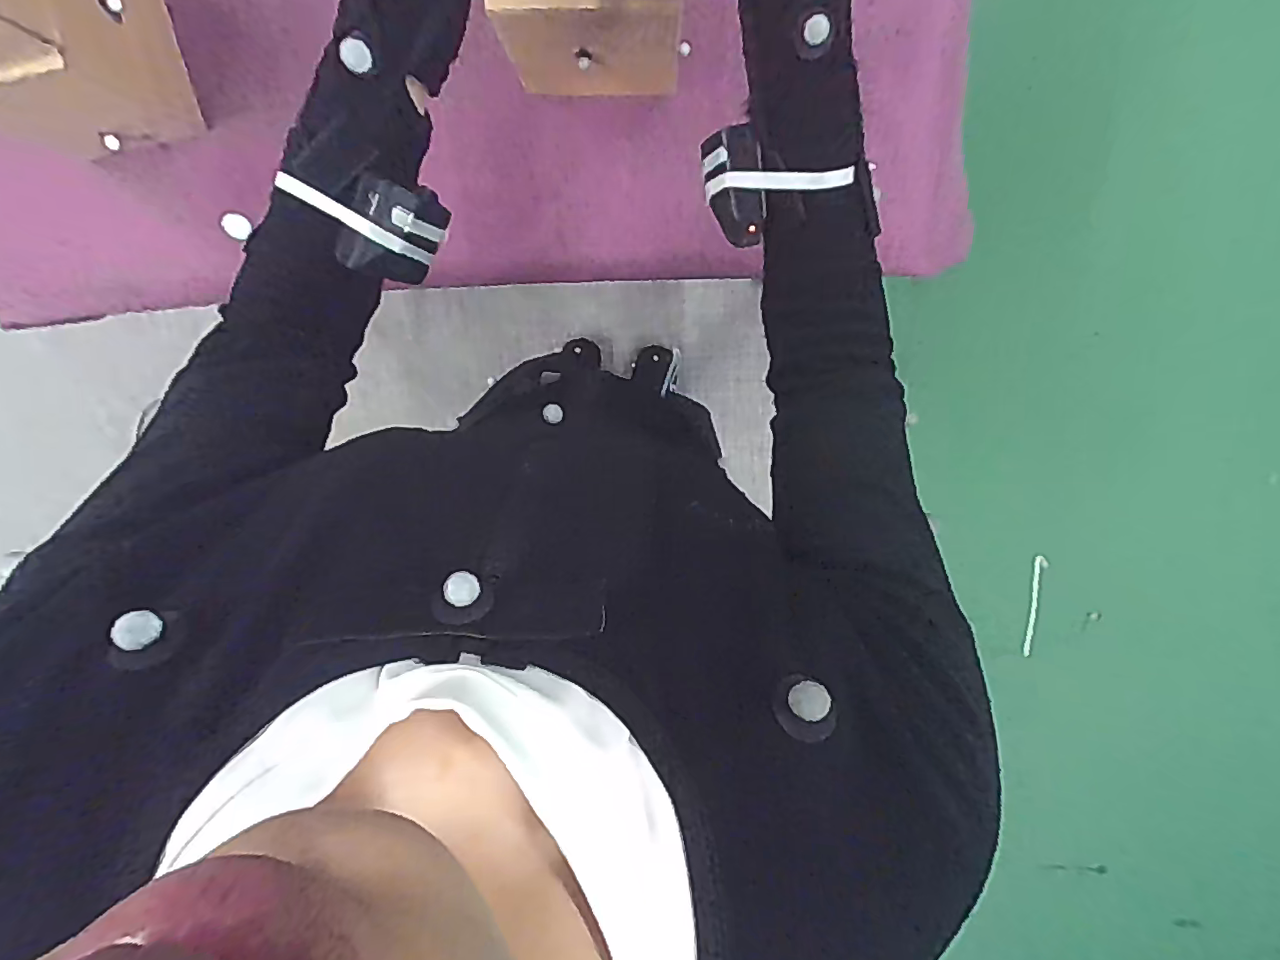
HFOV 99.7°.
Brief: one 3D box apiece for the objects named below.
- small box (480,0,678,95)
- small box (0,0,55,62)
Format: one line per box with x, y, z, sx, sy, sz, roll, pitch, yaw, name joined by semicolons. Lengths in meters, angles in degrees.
-0.049;-0.510;0.531;0.179;0.176;0.168;4;102;1;small box
-0.624;-0.434;0.400;0.179;0.176;0.168;-11;104;4;small box
